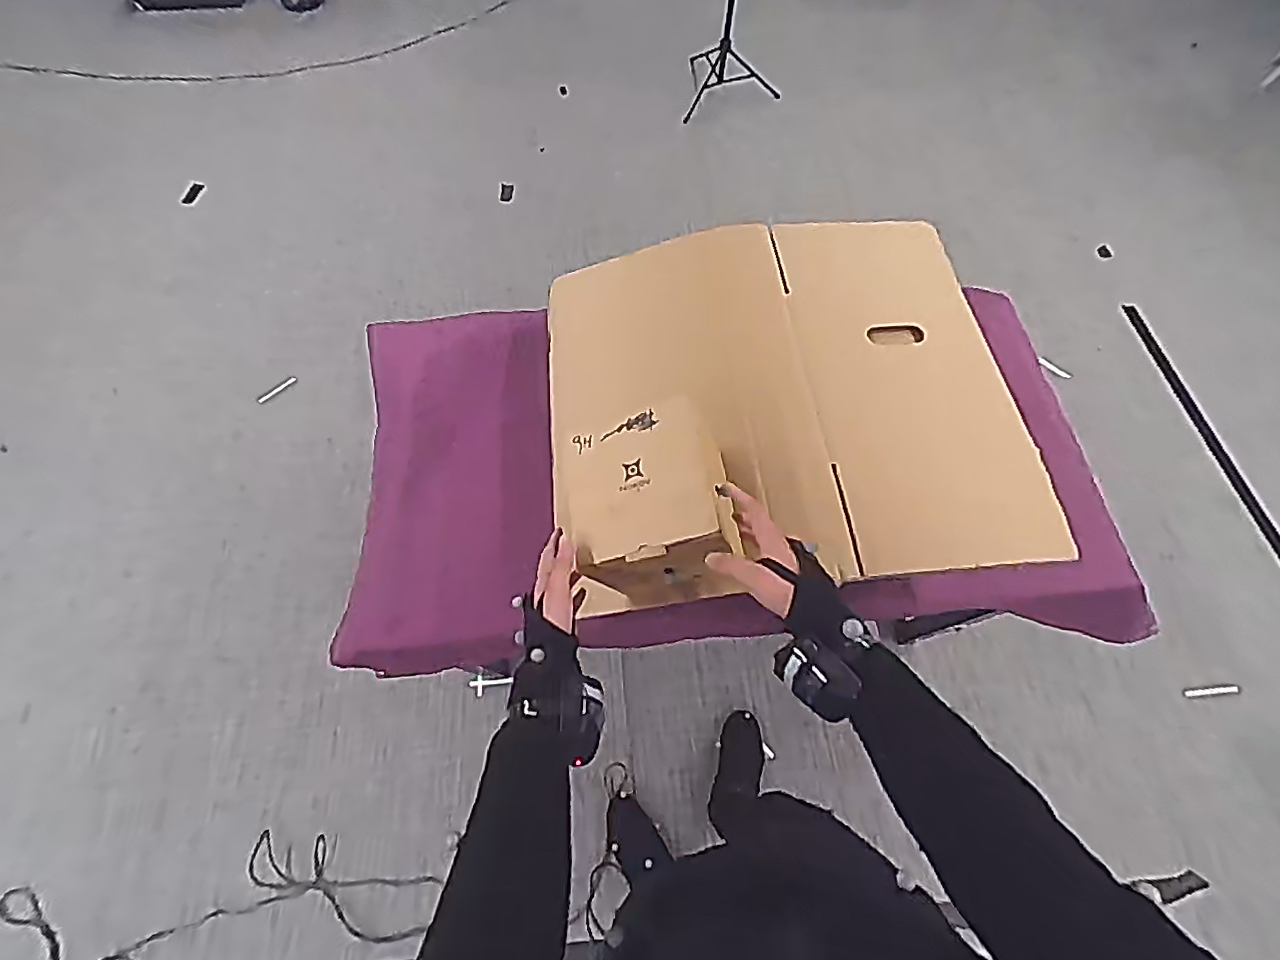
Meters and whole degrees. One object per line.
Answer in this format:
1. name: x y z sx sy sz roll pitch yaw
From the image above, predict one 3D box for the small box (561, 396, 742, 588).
1. small box: 0.019 0.029 0.668 0.168 0.176 0.179 -16 65 14
